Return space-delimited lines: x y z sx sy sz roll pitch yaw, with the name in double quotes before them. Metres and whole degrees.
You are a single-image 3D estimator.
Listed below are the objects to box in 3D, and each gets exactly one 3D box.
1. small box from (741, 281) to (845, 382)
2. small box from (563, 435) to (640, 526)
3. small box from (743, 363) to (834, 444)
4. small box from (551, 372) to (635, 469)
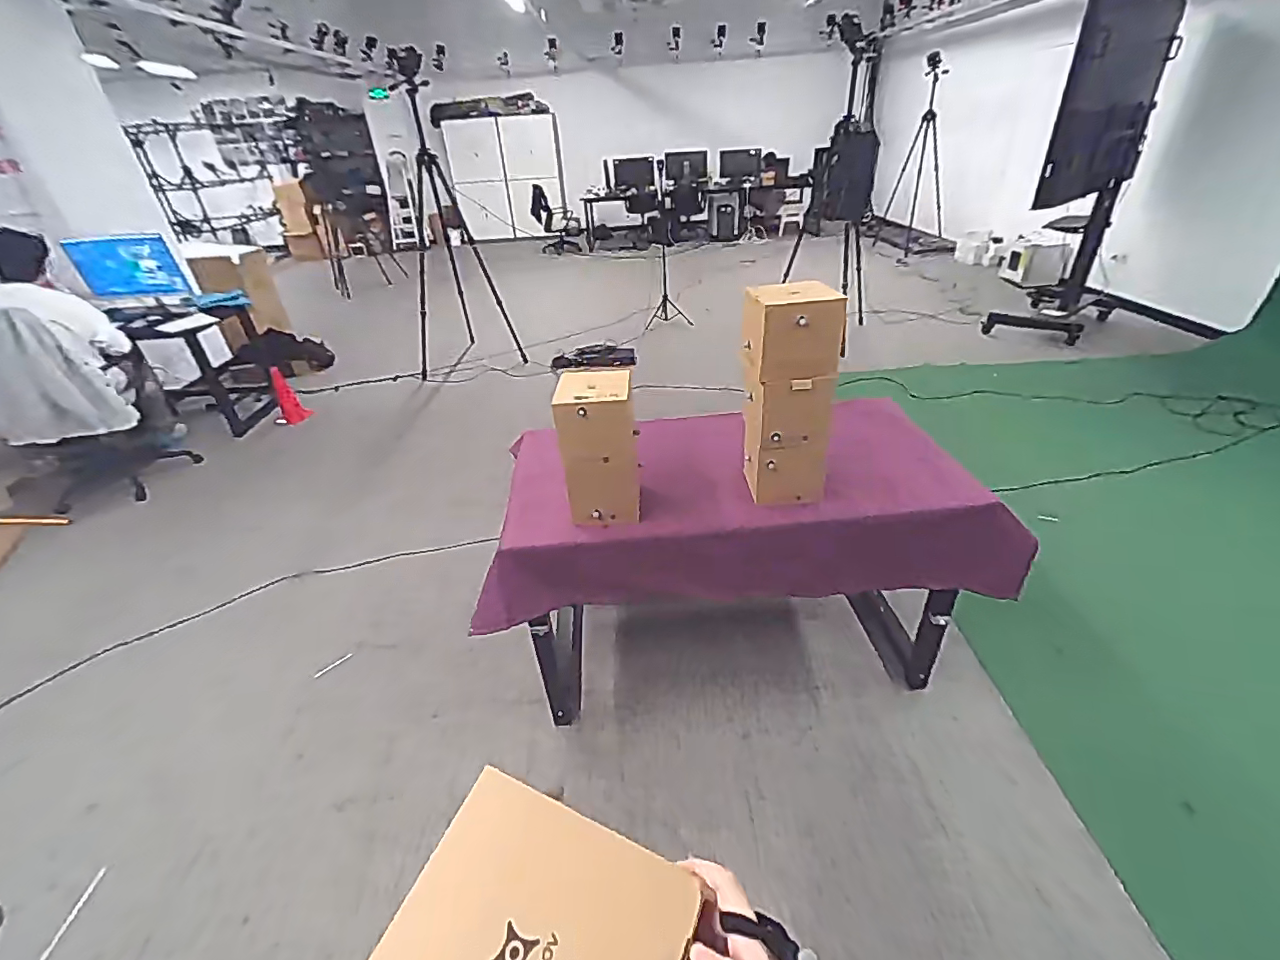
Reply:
"small box" 0.330 -0.330 1.200 0.179 0.176 0.168 -7 32 -2
"small box" -0.089 -0.002 1.351 0.168 0.176 0.179 -3 33 3
"small box" 0.345 -0.192 1.286 0.168 0.176 0.179 -6 31 -2
"small box" -0.101 -0.140 1.262 0.168 0.176 0.179 -4 32 4
